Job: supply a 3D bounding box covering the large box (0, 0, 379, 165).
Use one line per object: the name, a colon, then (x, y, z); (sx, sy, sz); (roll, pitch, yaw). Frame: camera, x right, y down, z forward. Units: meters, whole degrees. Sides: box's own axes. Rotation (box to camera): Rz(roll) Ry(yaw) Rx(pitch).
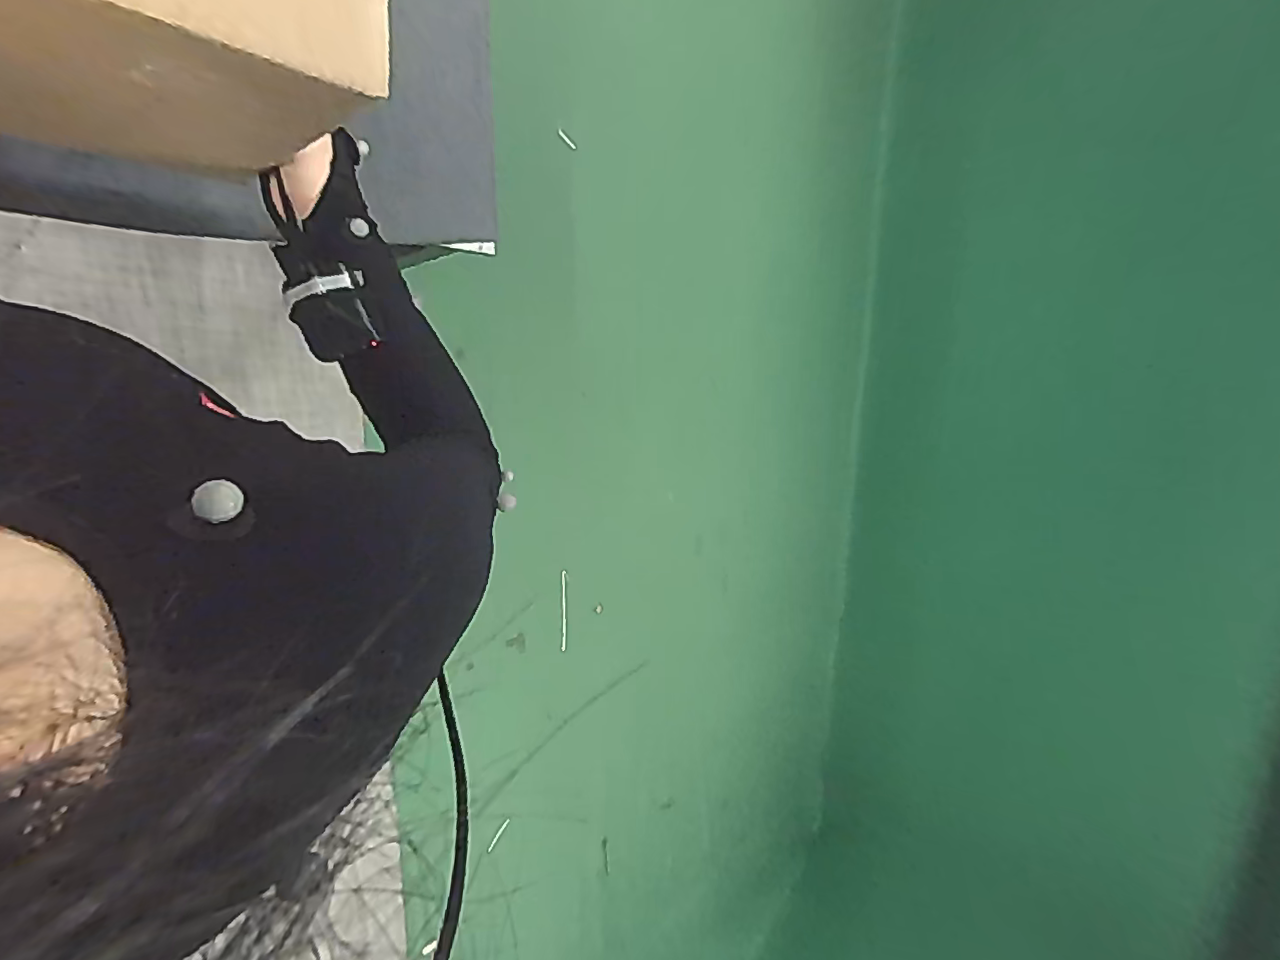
large box: (-0.362, -0.348, 0.185); (0.408, 0.320, 0.320); (-11, 112, -45)
